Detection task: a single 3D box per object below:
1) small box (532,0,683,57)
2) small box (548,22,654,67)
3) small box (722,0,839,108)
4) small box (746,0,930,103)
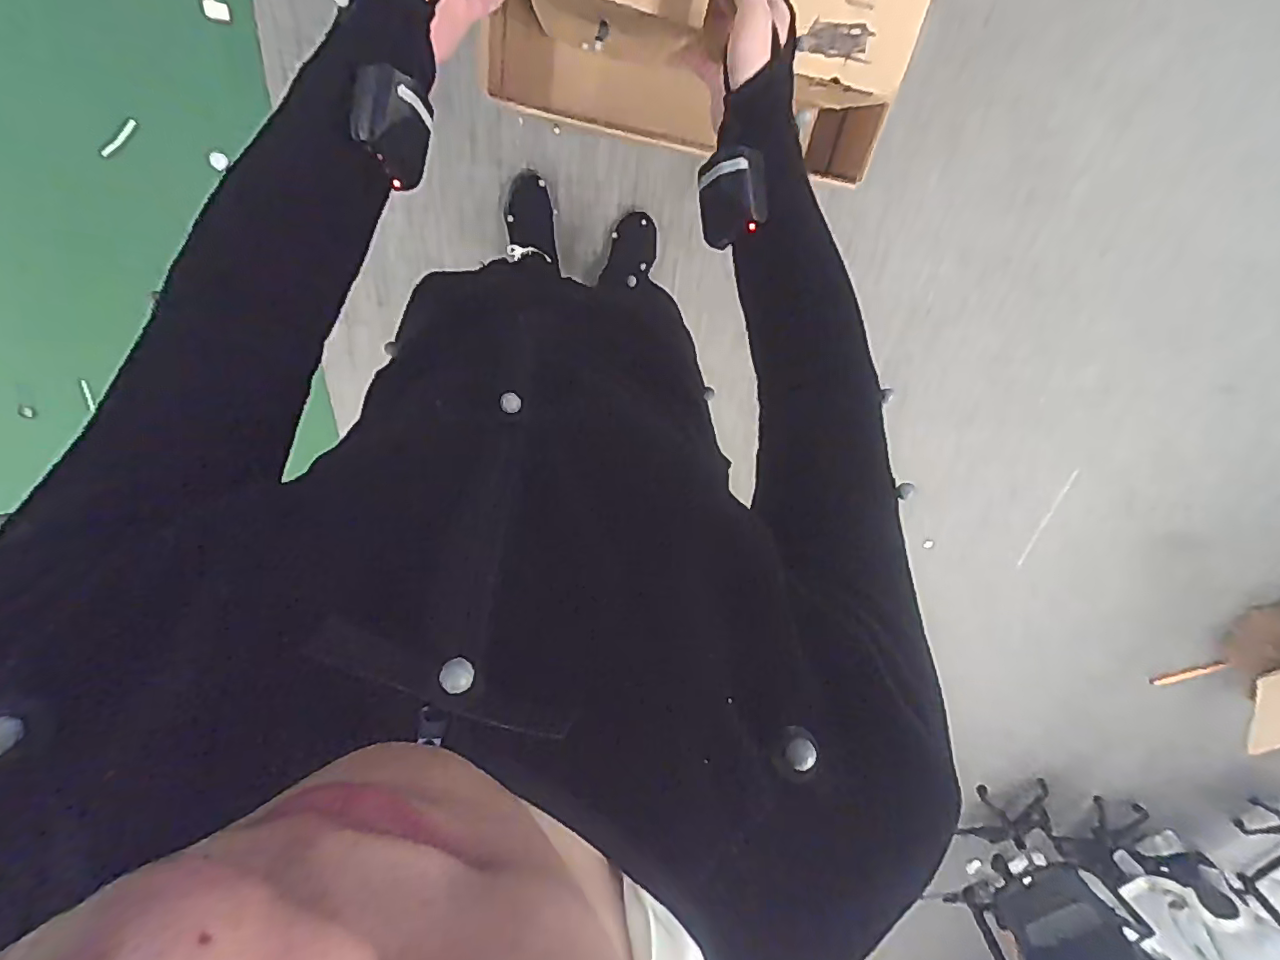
[{"bbox_3d":[-0.027,-0.623,0.629,0.168,0.176,0.179,8,122,-11],"label":"small box"},{"bbox_3d":[-0.041,-0.718,0.762,0.168,0.176,0.179,10,121,-10],"label":"small box"},{"bbox_3d":[0.230,-0.680,0.813,0.168,0.176,0.179,8,122,-10],"label":"small box"},{"bbox_3d":[0.243,-0.592,0.674,0.168,0.176,0.179,7,121,-10],"label":"small box"}]
